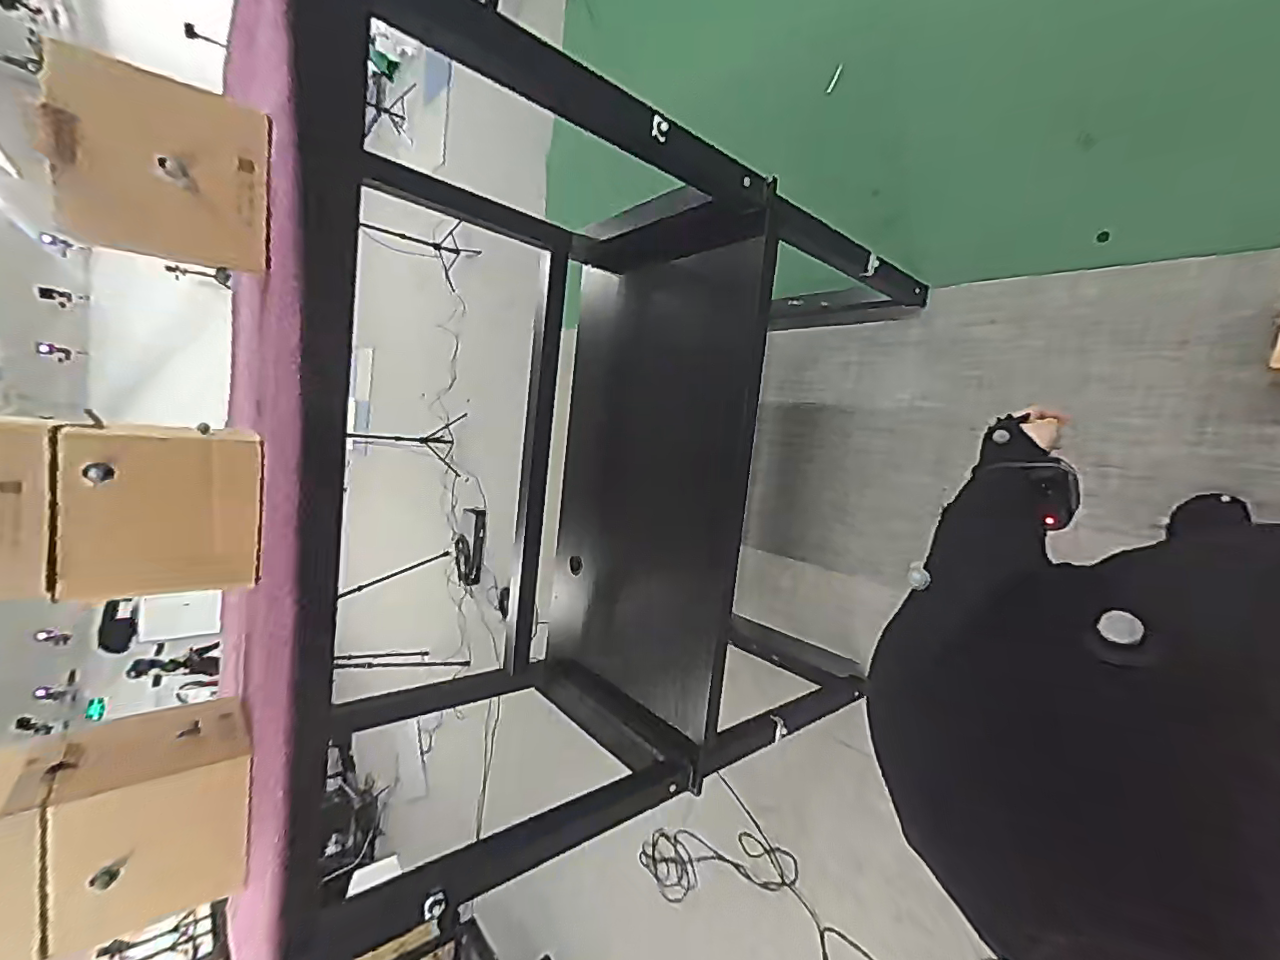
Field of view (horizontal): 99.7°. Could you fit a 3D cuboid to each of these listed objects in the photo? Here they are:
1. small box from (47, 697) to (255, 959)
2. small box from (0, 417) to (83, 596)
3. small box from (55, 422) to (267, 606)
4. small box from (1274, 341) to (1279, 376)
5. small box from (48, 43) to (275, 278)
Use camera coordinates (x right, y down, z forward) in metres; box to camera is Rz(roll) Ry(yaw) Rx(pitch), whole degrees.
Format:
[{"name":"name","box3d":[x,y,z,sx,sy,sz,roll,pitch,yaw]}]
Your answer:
[{"name":"small box","box3d":[-0.573,0.392,0.649,0.168,0.176,0.179,11,97,48]},{"name":"small box","box3d":[-0.670,0.020,0.532,0.179,0.176,0.168,9,93,52]},{"name":"small box","box3d":[-0.546,0.030,0.635,0.168,0.176,0.179,12,98,51]},{"name":"small box","box3d":[1.176,-0.249,0.870,0.179,0.176,0.168,17,103,48]},{"name":"small box","box3d":[-0.514,-0.329,0.603,0.179,0.176,0.168,23,108,49]}]
